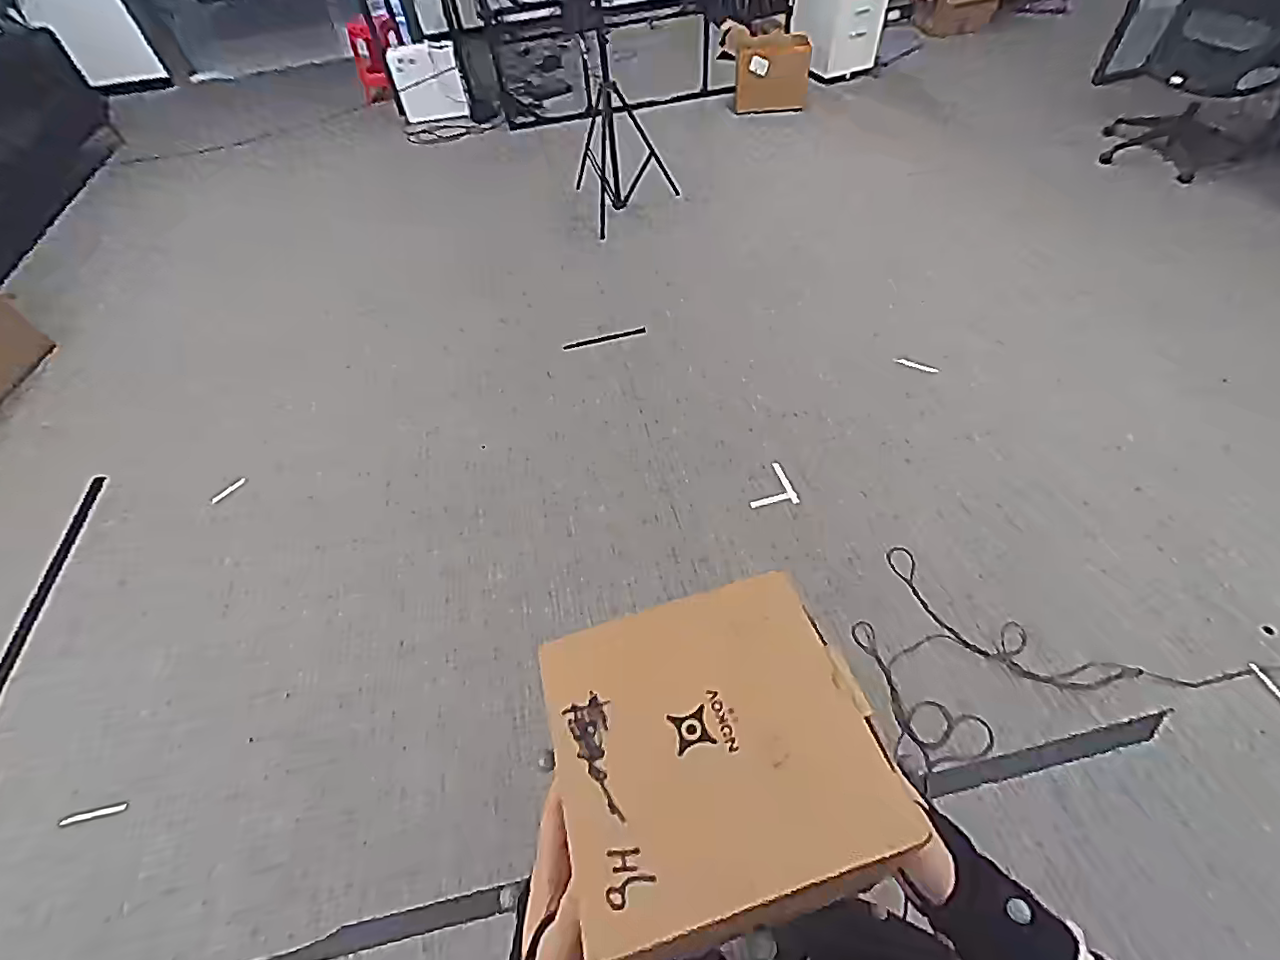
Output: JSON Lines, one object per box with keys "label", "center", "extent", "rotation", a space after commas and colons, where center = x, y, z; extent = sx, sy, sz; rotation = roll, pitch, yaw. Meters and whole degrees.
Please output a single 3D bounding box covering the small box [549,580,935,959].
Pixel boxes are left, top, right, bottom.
{"label": "small box", "center": [0.049, 0.198, 0.363], "extent": [0.179, 0.176, 0.168], "rotation": [-14, 46, -6]}
